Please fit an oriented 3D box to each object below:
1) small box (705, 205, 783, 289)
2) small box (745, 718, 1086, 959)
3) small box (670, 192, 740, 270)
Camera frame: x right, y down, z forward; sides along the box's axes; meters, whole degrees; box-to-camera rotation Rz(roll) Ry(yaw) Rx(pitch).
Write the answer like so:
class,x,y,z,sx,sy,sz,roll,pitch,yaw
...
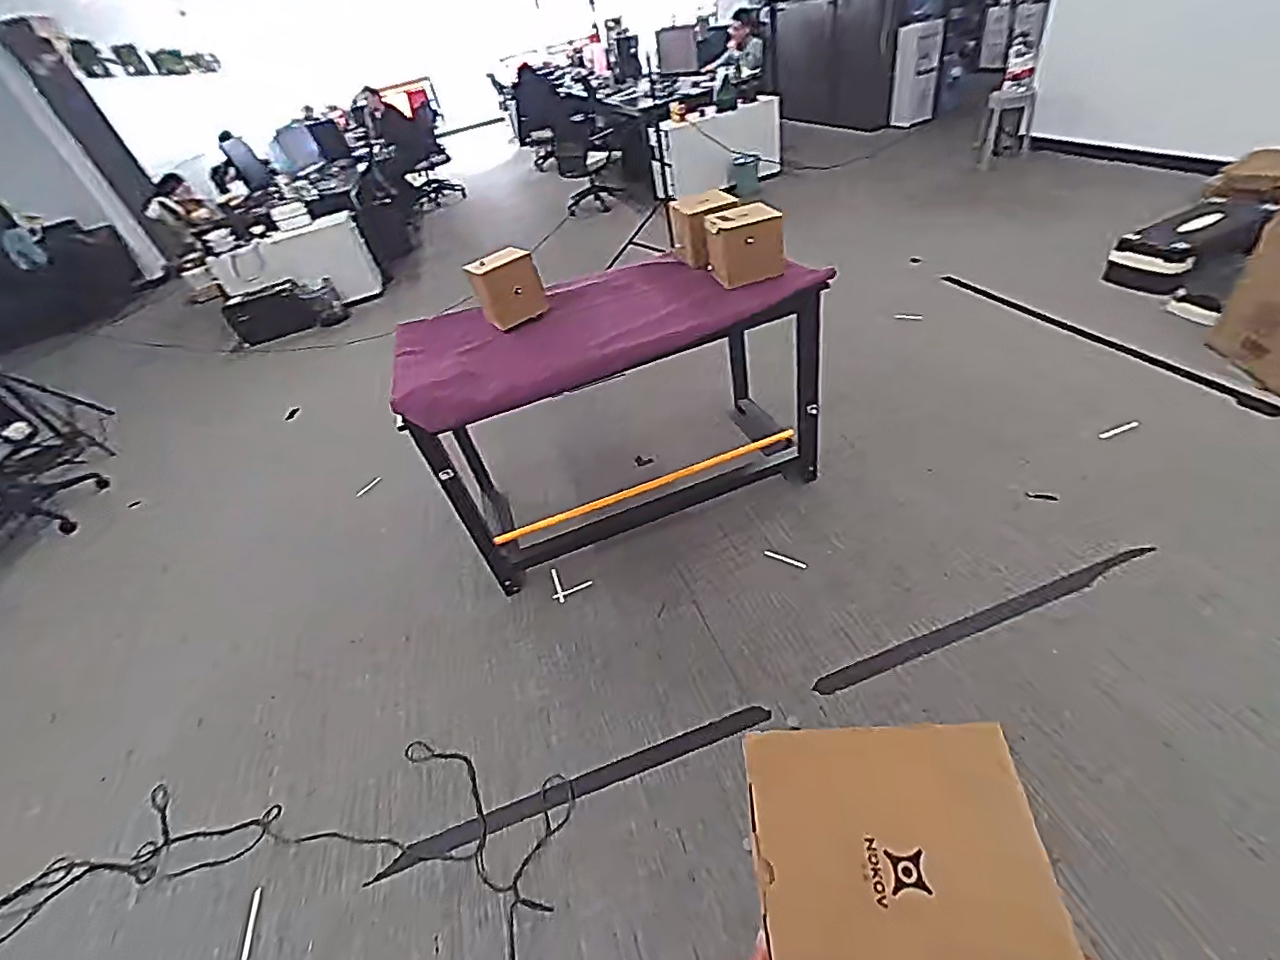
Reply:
class,x,y,z,sx,sy,sz,roll,pitch,yaw
small box,0.306,-0.679,1.580,0.179,0.176,0.168,-16,39,-2
small box,0.176,0.281,0.401,0.179,0.176,0.168,-8,56,8
small box,0.214,-0.809,1.754,0.179,0.176,0.168,-20,42,-7
